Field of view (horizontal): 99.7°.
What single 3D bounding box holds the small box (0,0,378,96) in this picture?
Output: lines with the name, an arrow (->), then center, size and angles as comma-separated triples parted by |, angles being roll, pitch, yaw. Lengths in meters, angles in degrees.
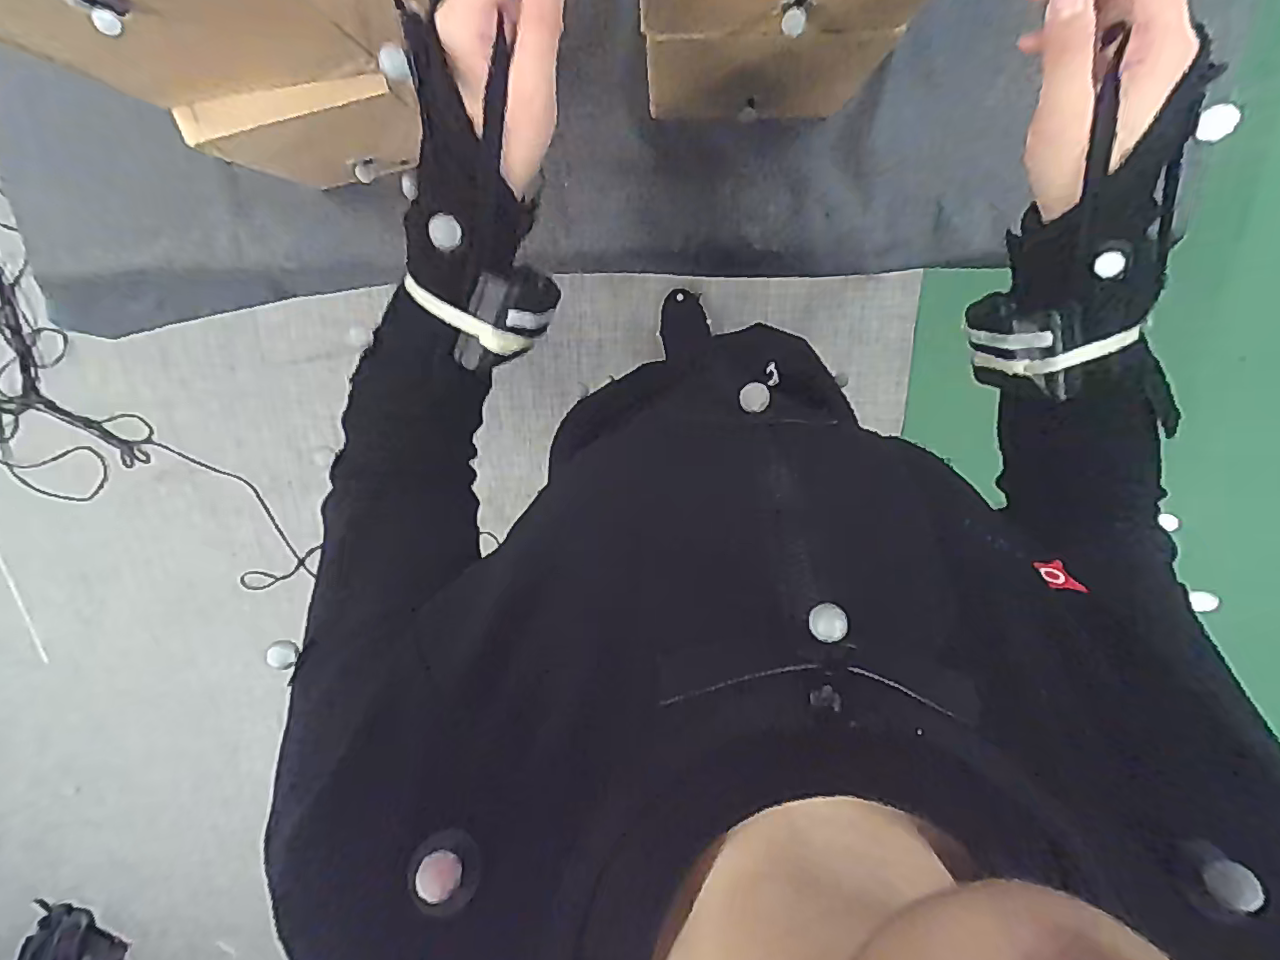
small box -> -0.275, -0.330, 0.281 | 0.179, 0.176, 0.168 | -7, 109, 3

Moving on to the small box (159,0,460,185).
small box -> -0.271, -0.366, 0.440 | 0.168, 0.176, 0.179 | -10, 108, 6

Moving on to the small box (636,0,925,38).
small box -> 0.082, -0.349, 0.257 | 0.179, 0.176, 0.168 | 0, 109, 3

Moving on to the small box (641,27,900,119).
small box -> 0.089, -0.399, 0.416 | 0.179, 0.176, 0.168 | 0, 108, 2
